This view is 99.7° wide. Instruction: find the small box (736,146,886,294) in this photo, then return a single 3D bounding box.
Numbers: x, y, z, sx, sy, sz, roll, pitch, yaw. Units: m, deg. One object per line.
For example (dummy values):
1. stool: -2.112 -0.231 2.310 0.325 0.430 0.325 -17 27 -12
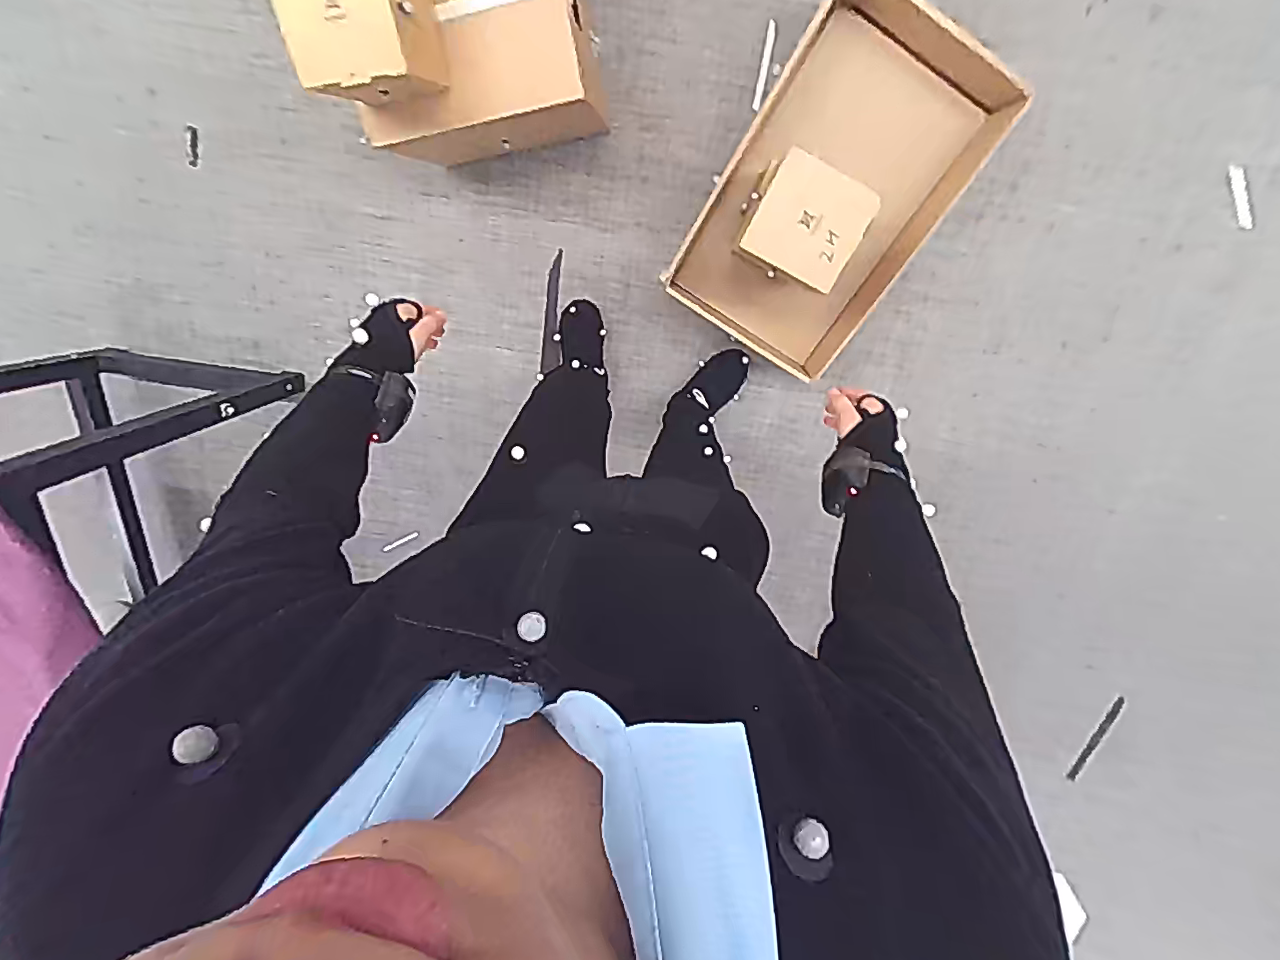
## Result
1. small box: 0.284 -0.445 0.951 0.179 0.176 0.168 27 111 -6
